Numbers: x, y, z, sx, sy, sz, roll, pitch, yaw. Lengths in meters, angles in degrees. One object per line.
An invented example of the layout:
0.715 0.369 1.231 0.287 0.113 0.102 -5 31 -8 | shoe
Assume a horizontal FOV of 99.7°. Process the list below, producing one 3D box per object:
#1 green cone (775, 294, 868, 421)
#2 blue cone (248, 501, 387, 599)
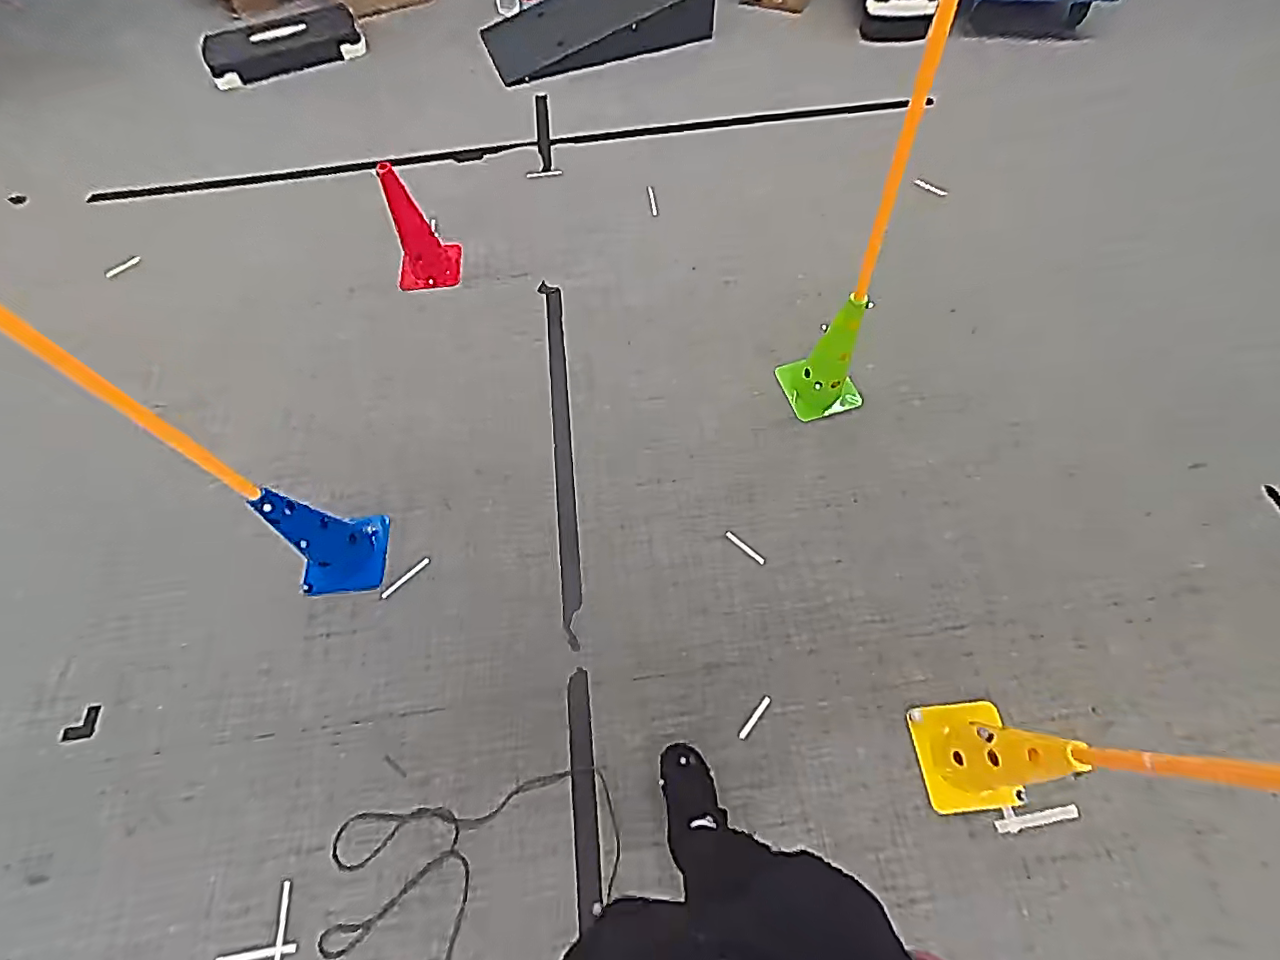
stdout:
0.512 -0.346 1.423 0.200 0.368 0.202 -17 65 -6 | green cone
-0.753 0.131 1.238 0.193 0.380 0.192 -5 63 0 | blue cone
